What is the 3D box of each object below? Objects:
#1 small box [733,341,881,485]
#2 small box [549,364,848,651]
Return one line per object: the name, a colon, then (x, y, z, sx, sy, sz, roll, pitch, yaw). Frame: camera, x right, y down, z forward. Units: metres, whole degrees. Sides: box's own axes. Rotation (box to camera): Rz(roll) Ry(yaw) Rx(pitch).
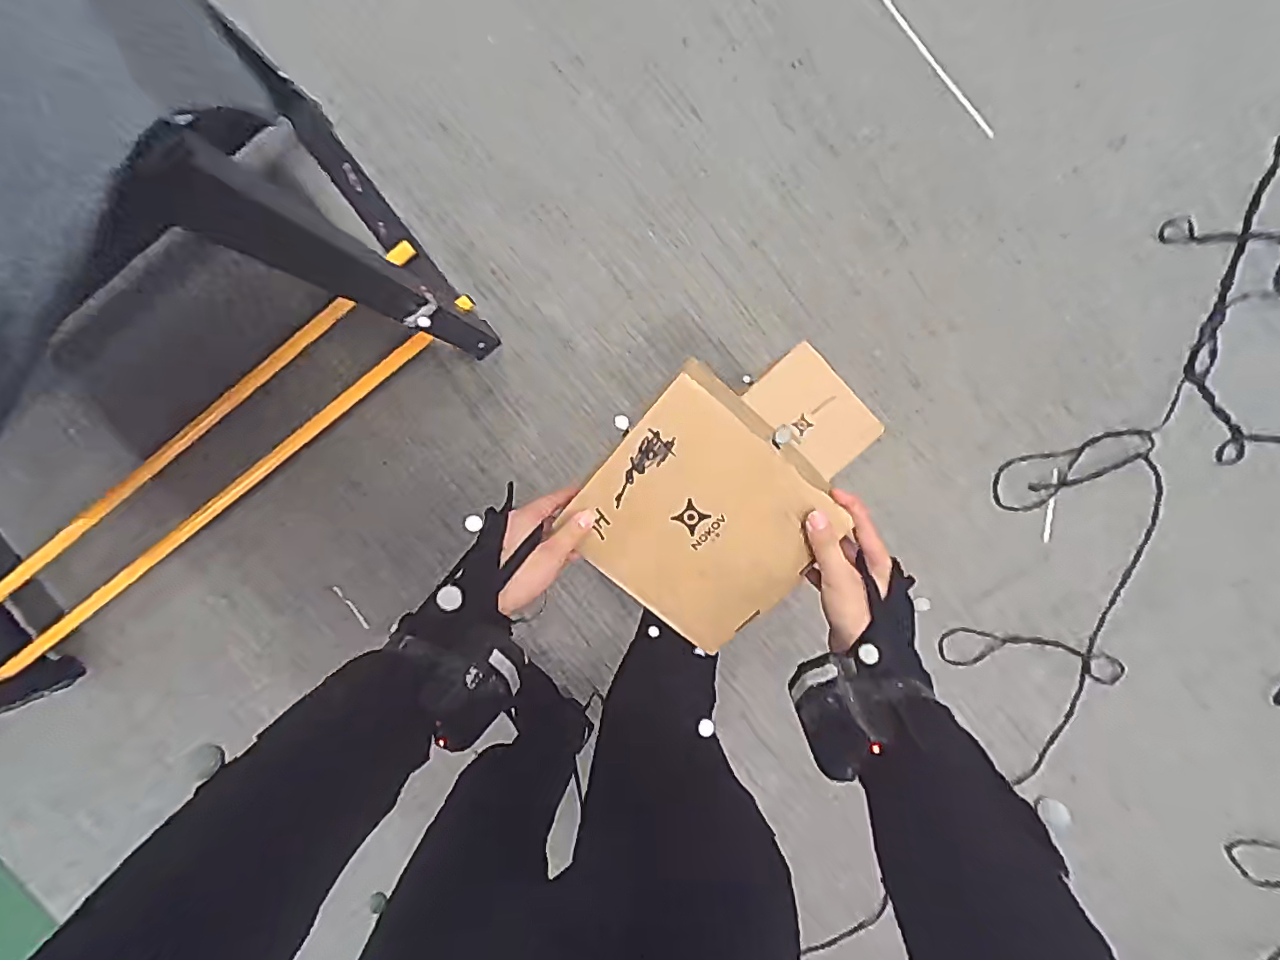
small box: (0.212, -0.075, 0.808, 0.179, 0.176, 0.168, -43, 92, 3)
small box: (0.050, 0.010, 0.495, 0.179, 0.176, 0.168, 39, 107, -7)
